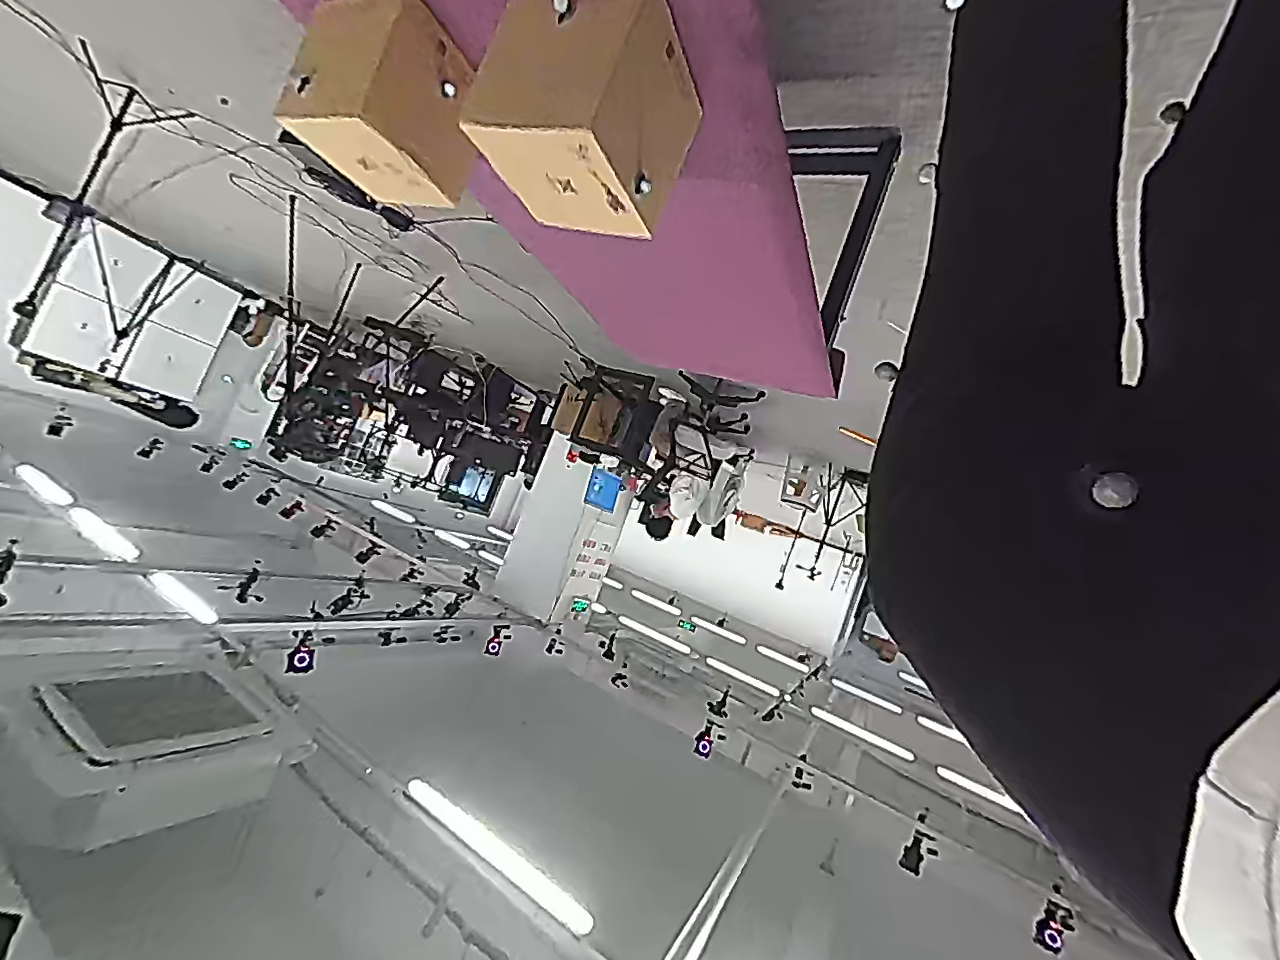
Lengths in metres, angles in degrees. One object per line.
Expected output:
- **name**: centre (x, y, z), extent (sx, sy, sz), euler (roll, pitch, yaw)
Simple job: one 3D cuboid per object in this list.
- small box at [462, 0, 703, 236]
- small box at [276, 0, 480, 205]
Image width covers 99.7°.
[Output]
- **small box**: centre (-0.055, -0.408, 0.603), extent (0.179, 0.176, 0.168), euler (22, 177, 24)
- **small box**: centre (-0.330, -0.502, 0.723), extent (0.179, 0.176, 0.168), euler (17, 176, 25)
